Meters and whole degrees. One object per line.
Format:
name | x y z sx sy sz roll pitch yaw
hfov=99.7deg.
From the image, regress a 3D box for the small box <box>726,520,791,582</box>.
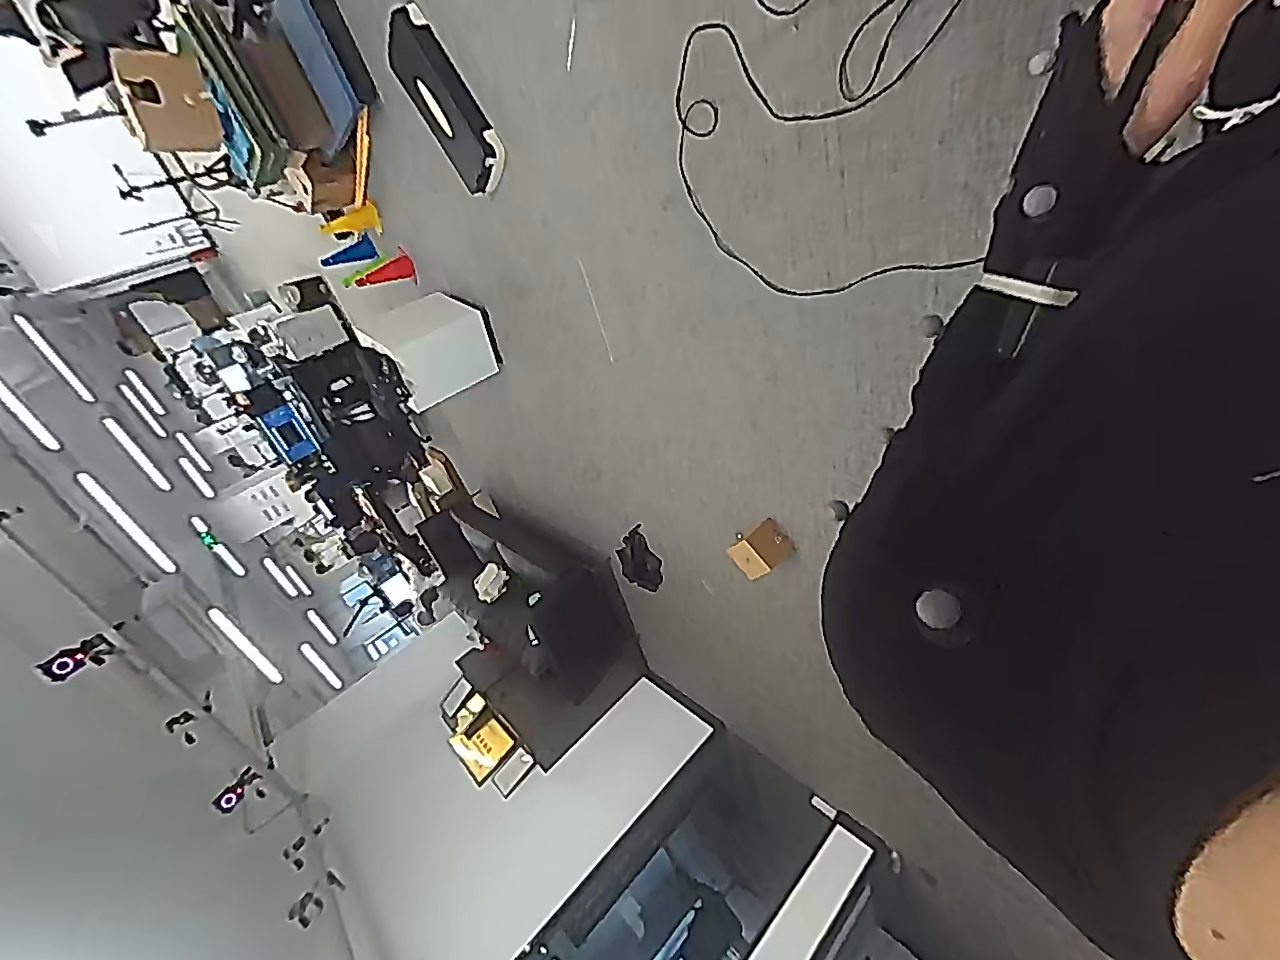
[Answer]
small box | 0.498 0.298 2.259 0.168 0.176 0.179 49 151 7
